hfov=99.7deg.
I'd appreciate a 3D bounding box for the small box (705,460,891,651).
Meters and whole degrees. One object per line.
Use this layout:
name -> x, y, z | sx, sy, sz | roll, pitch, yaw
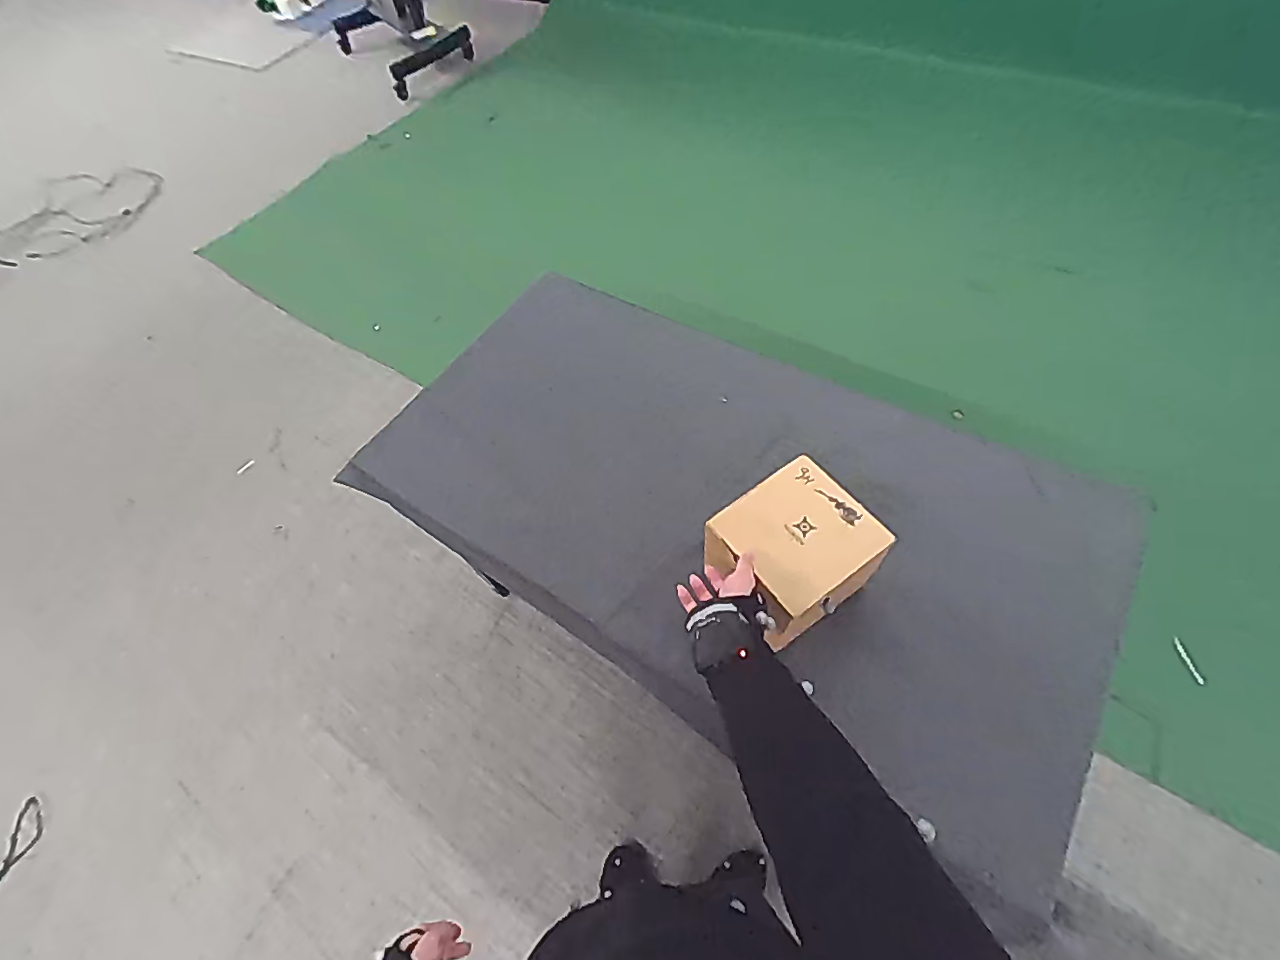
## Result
small box -> 0.210, 0.112, 0.760 | 0.179, 0.176, 0.168 | -33, 61, -13
